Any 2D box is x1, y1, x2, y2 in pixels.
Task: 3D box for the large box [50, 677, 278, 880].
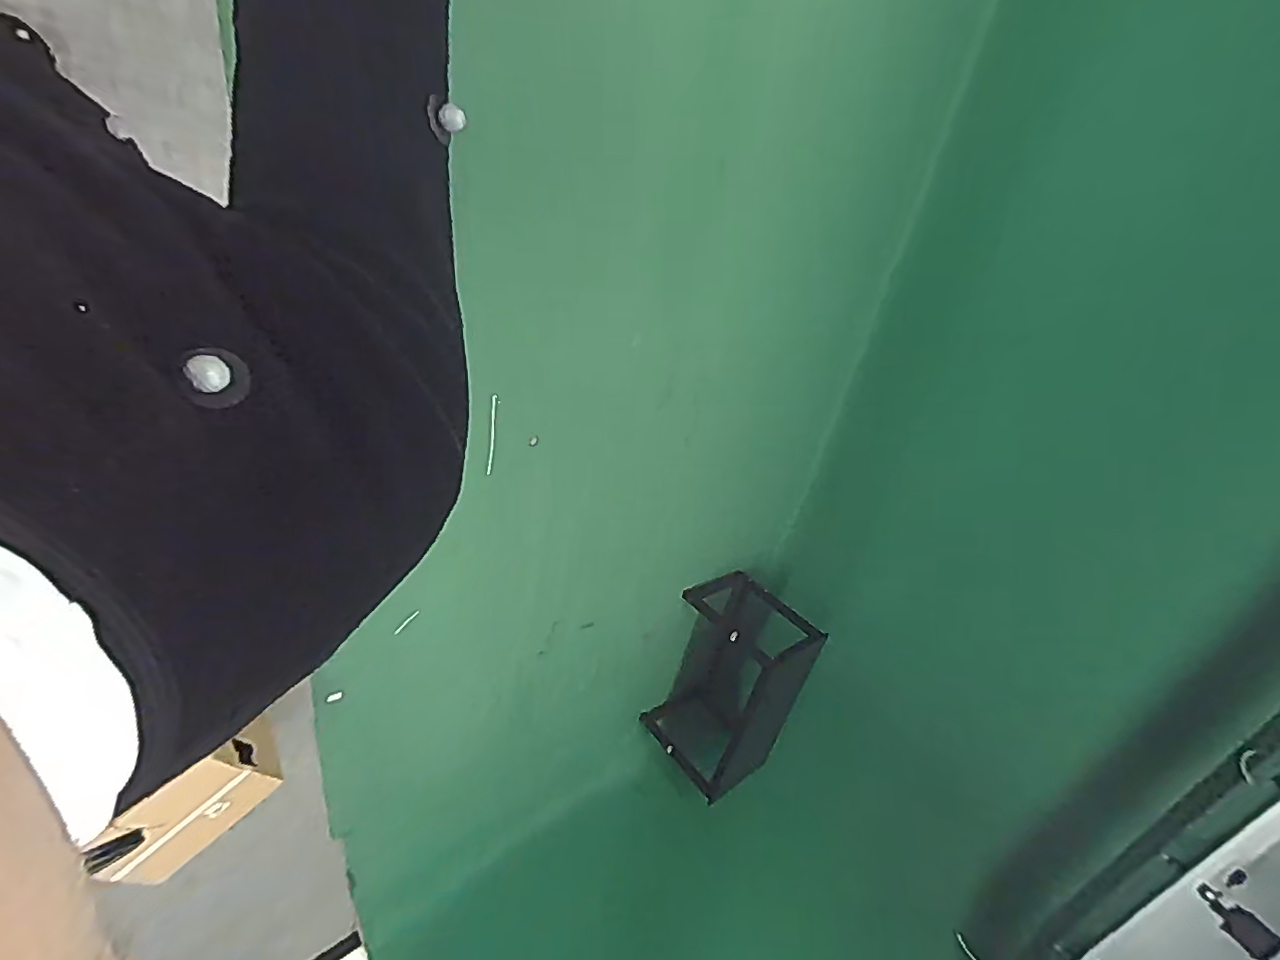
[{"bbox_3d":[-1.412,0.887,1.623,0.408,0.320,0.320,-41,141,-18],"label":"large box"}]
